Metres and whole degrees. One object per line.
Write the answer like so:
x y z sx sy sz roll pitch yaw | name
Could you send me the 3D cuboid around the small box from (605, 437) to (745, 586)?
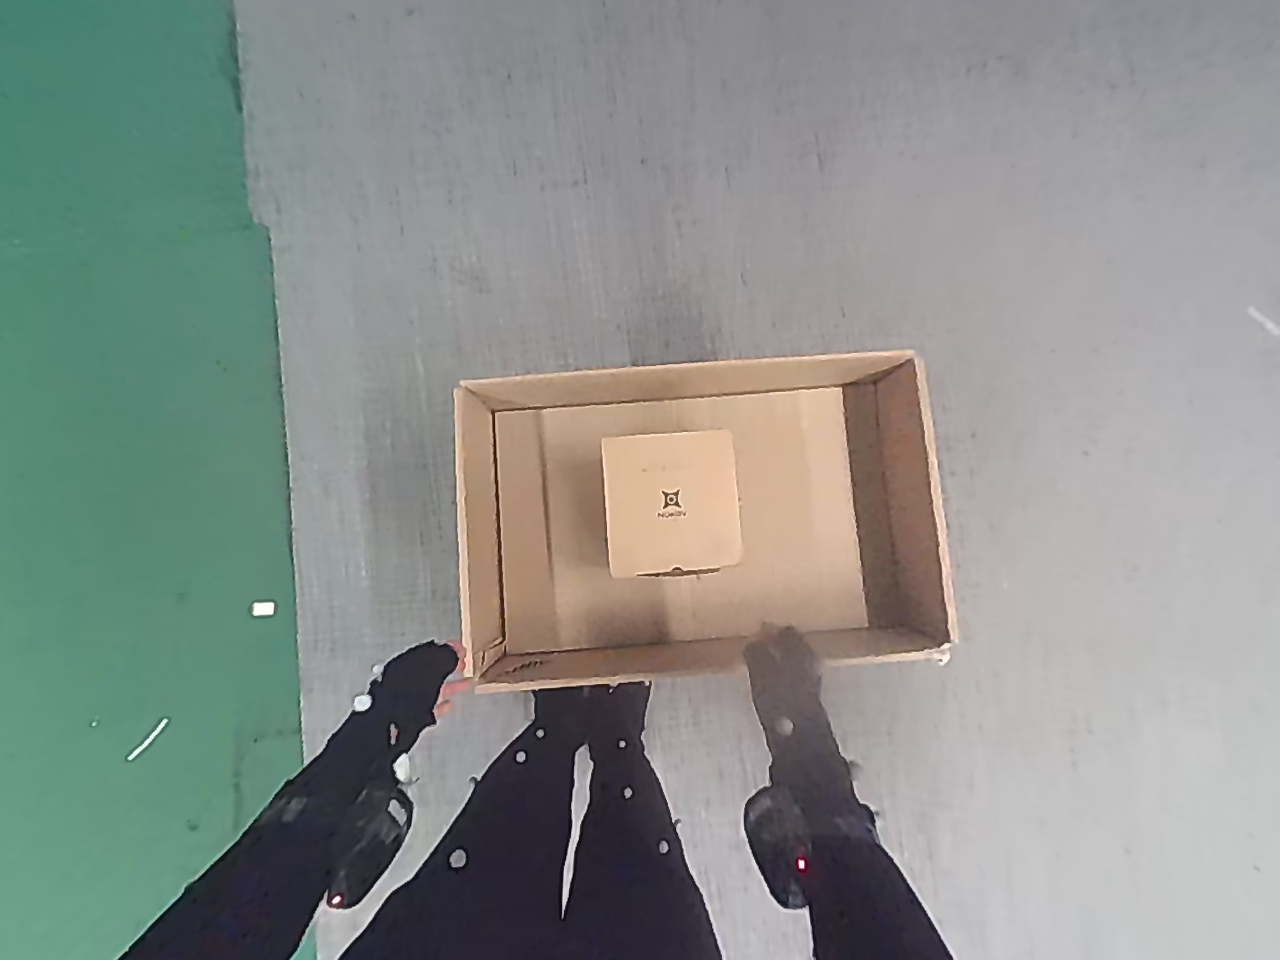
0.042 0.046 0.747 0.168 0.176 0.179 -5 83 -2 | small box
